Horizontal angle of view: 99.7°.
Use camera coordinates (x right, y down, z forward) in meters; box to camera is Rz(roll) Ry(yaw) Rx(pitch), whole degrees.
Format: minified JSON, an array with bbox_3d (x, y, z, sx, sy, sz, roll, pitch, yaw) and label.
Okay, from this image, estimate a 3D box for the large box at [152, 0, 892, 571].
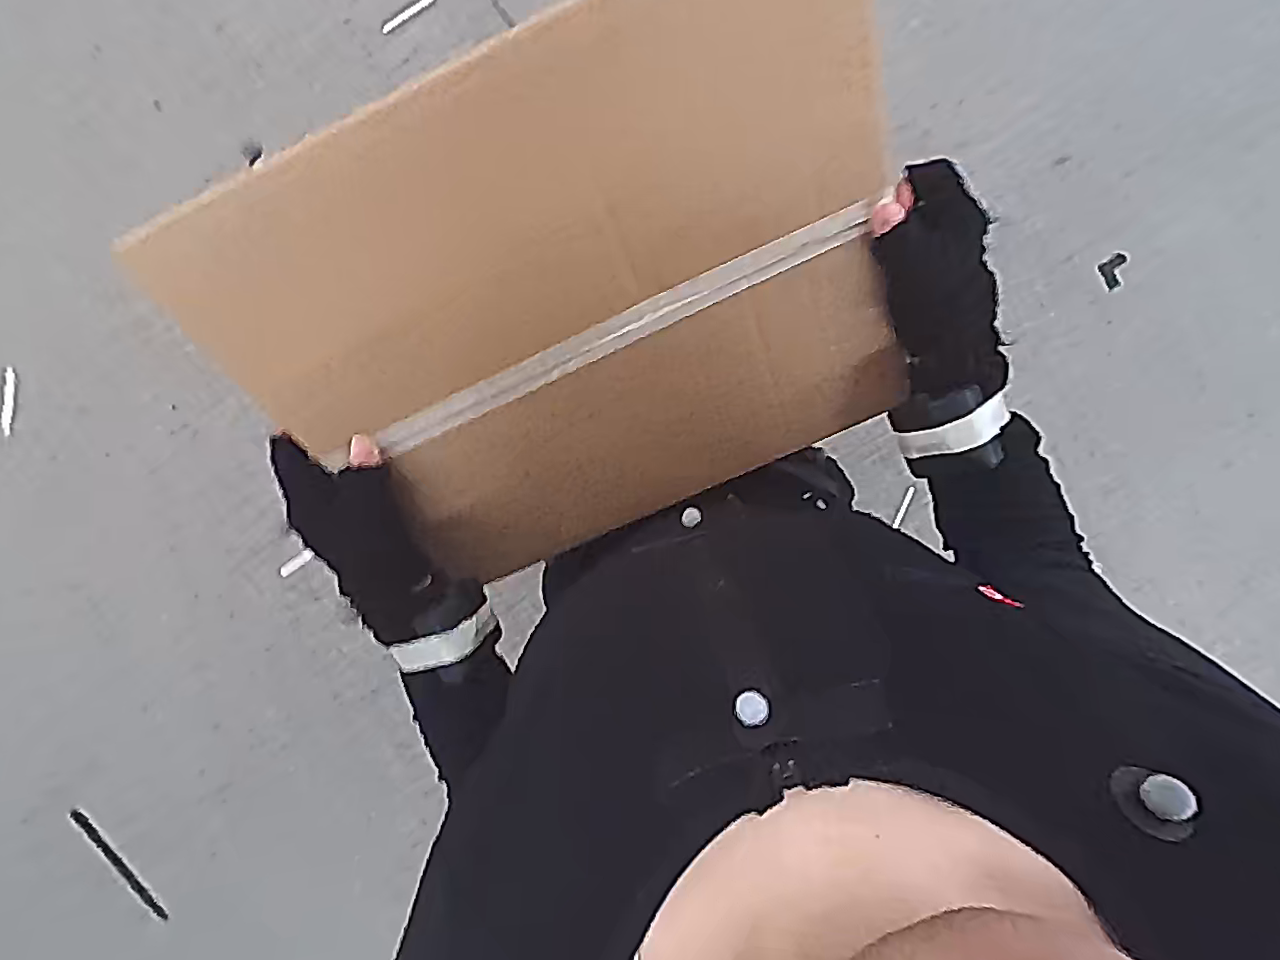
[{"bbox_3d":[-0.059,-0.191,0.478,0.408,0.320,0.320,-23,129,5],"label":"large box"}]
